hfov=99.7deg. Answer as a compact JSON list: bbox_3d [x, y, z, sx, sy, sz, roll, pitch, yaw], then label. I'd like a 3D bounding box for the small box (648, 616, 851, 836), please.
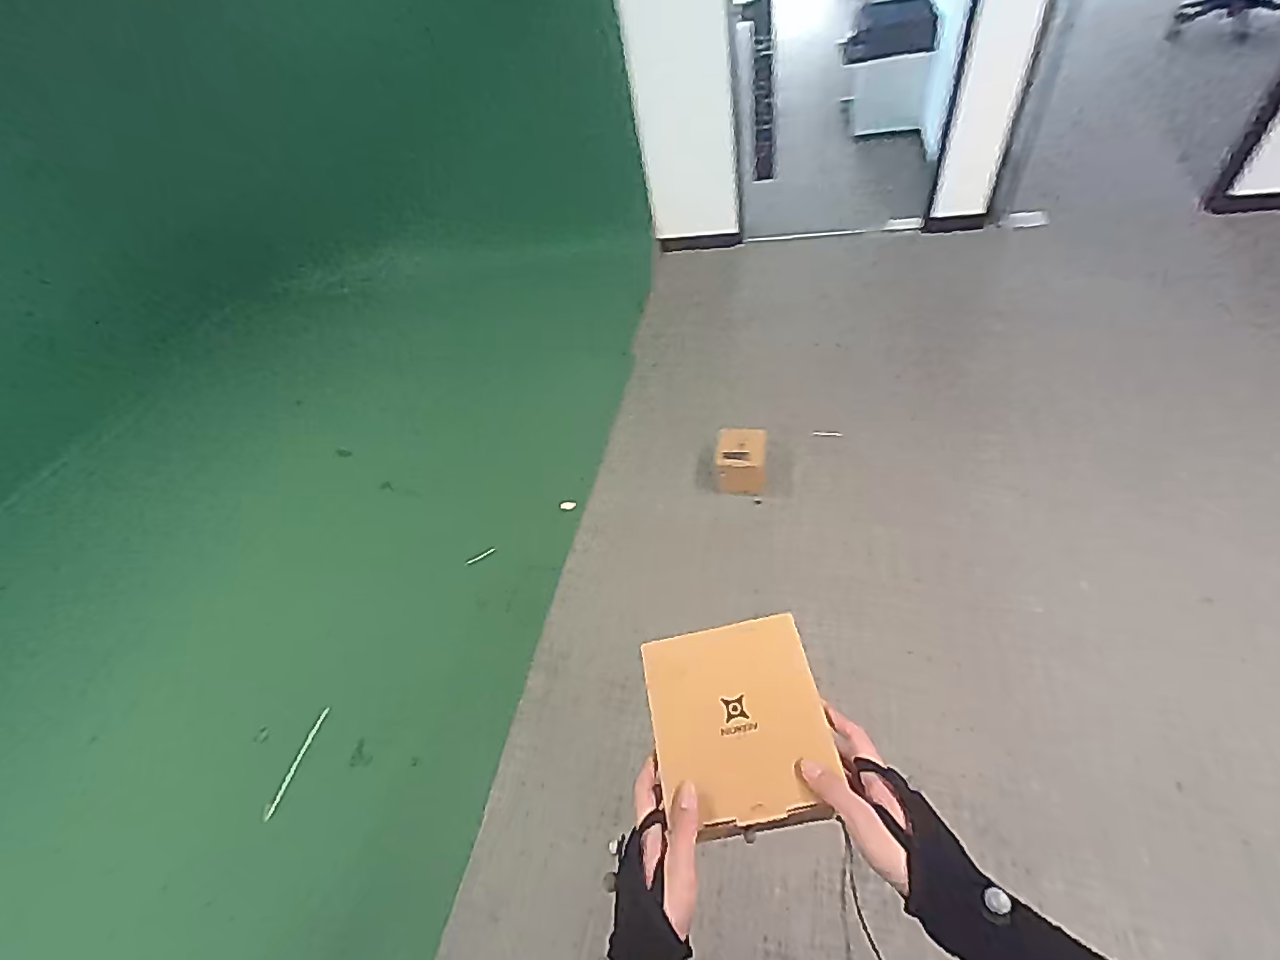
[{"bbox_3d":[0.110,0.273,0.590,0.168,0.176,0.179,-12,54,5],"label":"small box"}]
